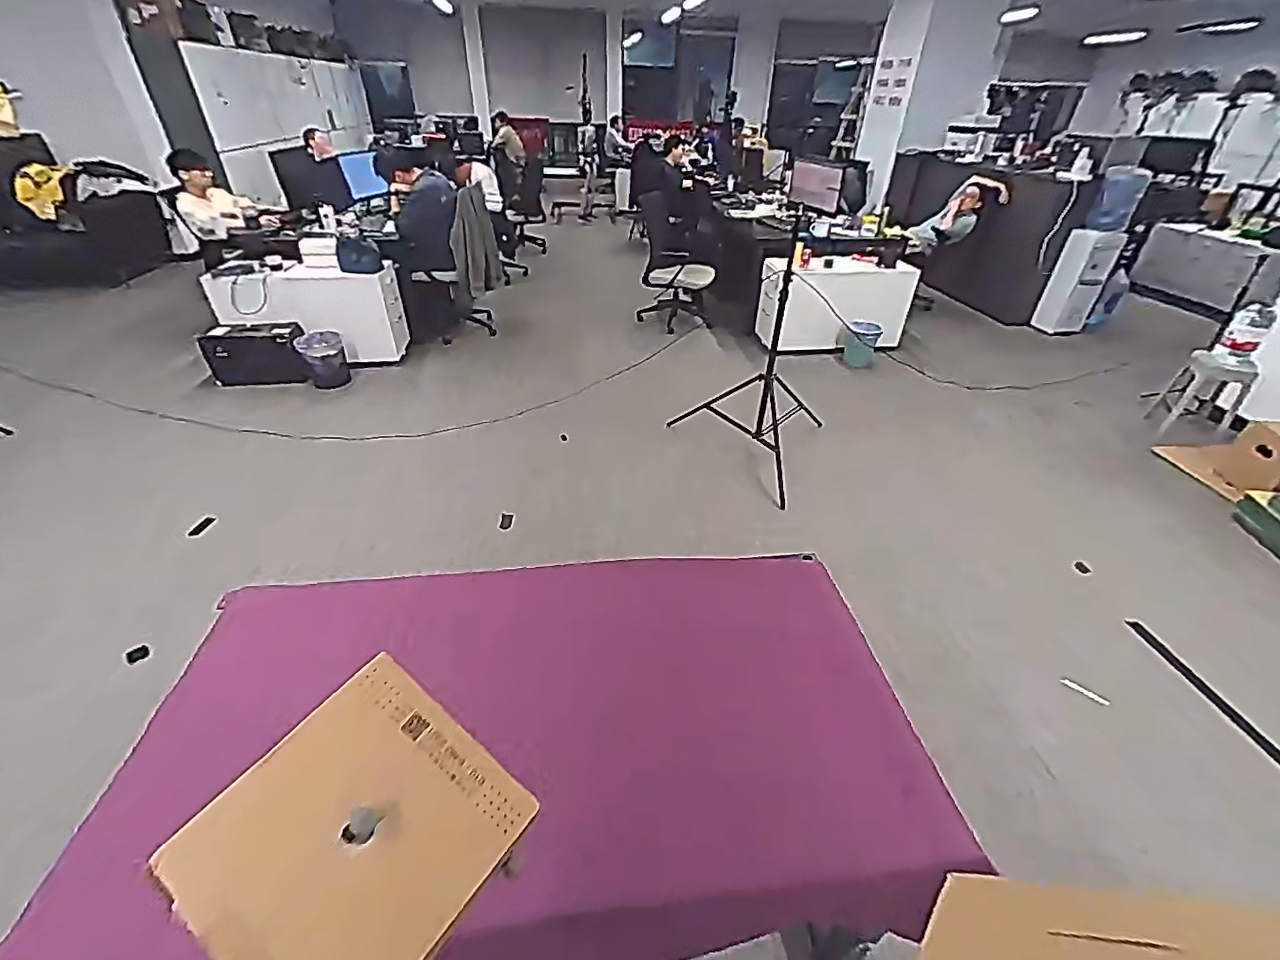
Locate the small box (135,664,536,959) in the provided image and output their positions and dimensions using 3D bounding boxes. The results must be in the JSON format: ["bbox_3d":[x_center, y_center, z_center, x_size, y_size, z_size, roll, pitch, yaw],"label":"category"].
[{"bbox_3d":[-0.192,0.267,0.401,0.168,0.179,0.176,37,56,14],"label":"small box"}]

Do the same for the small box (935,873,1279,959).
[{"bbox_3d":[0.242,0.294,0.232,0.168,0.179,0.176,-17,65,30],"label":"small box"}]
